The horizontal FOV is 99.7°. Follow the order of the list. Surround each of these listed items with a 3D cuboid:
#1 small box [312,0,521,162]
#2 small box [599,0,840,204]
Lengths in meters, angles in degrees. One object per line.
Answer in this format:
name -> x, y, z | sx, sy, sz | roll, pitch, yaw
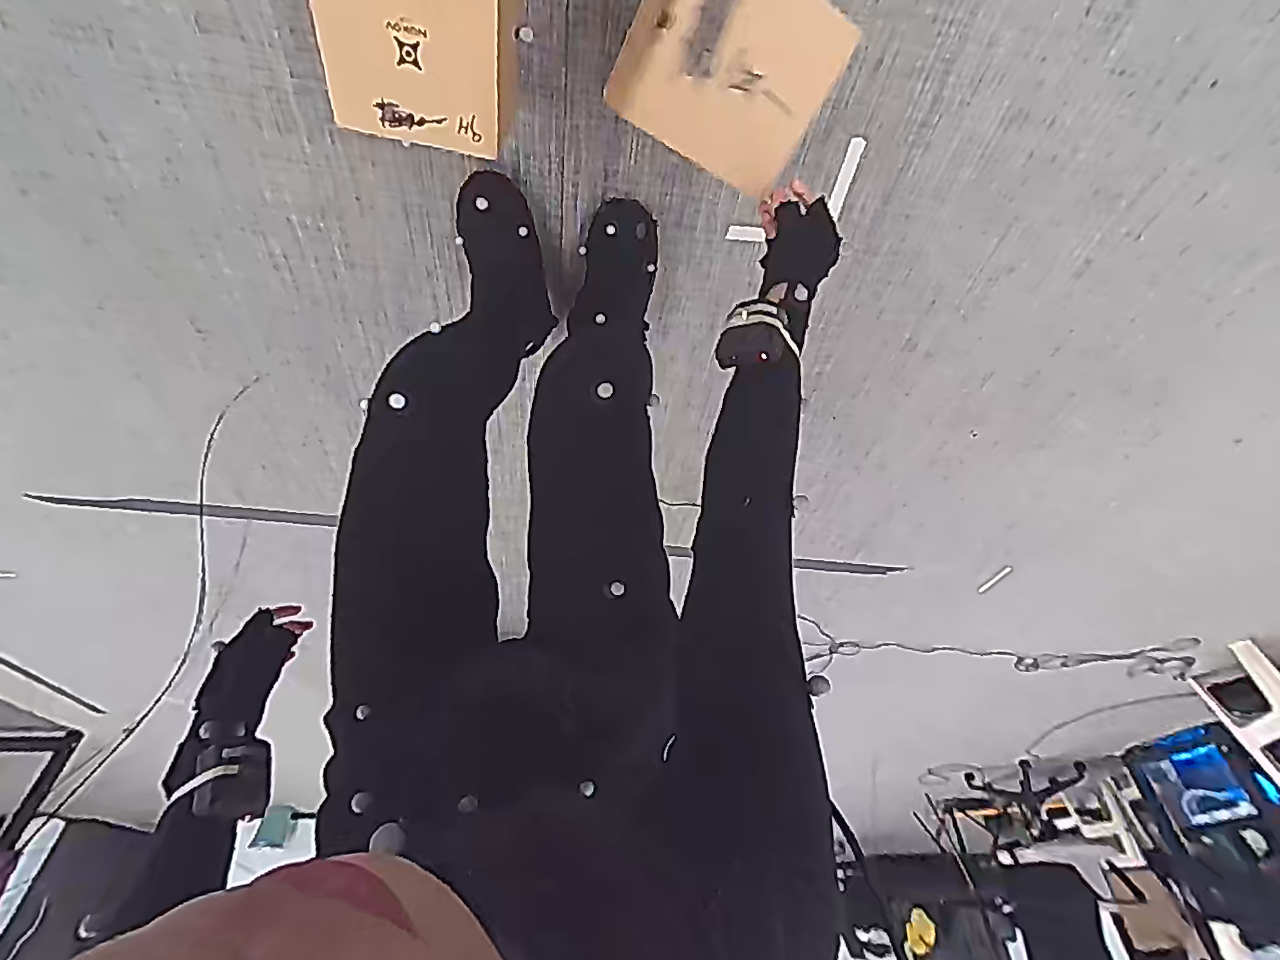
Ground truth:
small box -> -0.218, -0.469, 0.559 | 0.168, 0.176, 0.179 | 8, 138, -10
small box -> 0.069, -0.435, 0.576 | 0.179, 0.176, 0.168 | 23, 126, -21
